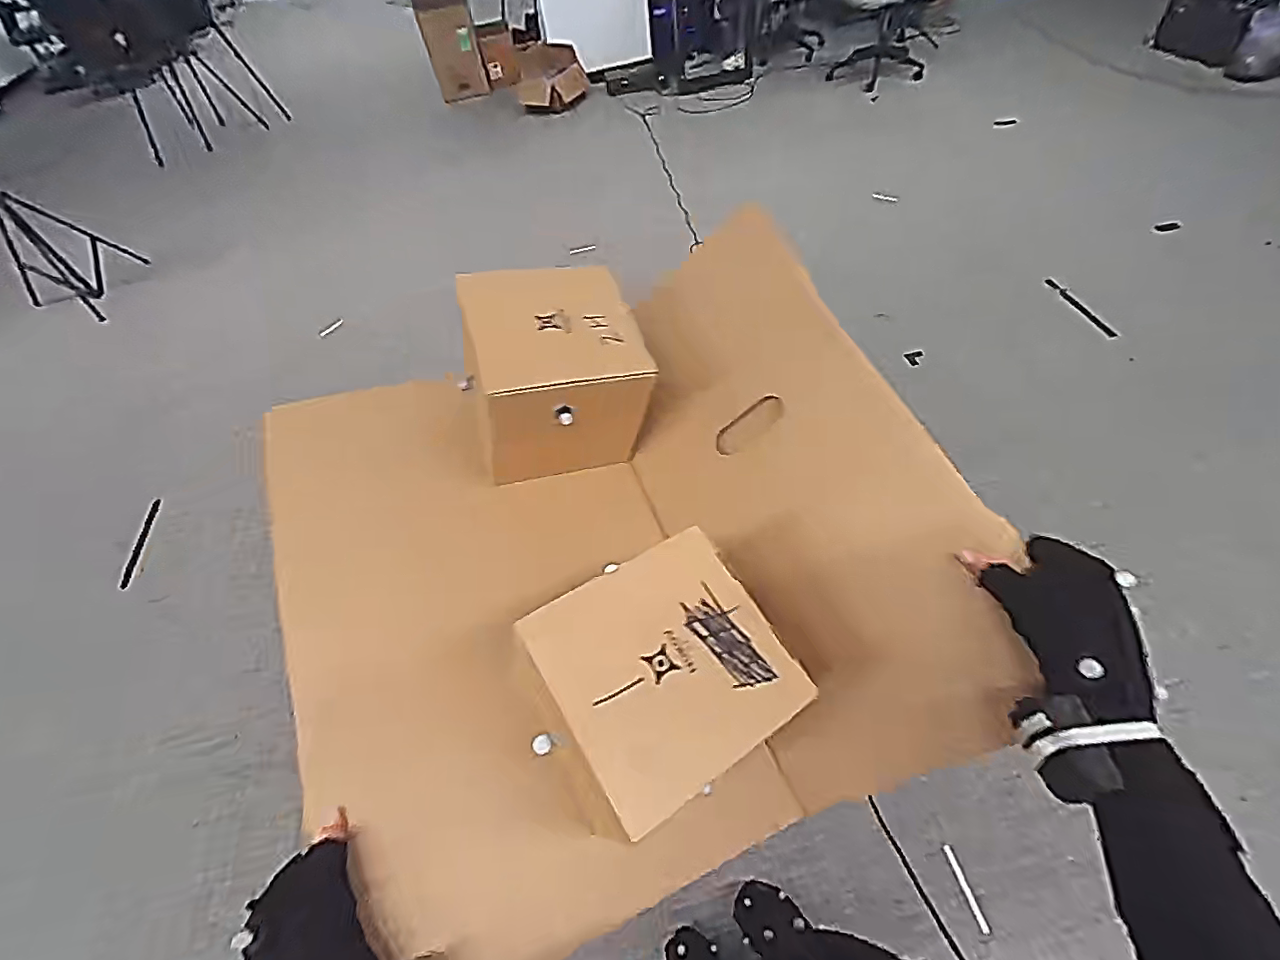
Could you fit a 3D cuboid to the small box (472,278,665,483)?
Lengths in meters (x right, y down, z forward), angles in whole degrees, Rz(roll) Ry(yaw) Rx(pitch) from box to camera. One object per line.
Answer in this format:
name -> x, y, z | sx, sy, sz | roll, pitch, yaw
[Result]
small box -> -0.091, -0.112, 0.636 | 0.179, 0.176, 0.168 | -10, 62, -19
